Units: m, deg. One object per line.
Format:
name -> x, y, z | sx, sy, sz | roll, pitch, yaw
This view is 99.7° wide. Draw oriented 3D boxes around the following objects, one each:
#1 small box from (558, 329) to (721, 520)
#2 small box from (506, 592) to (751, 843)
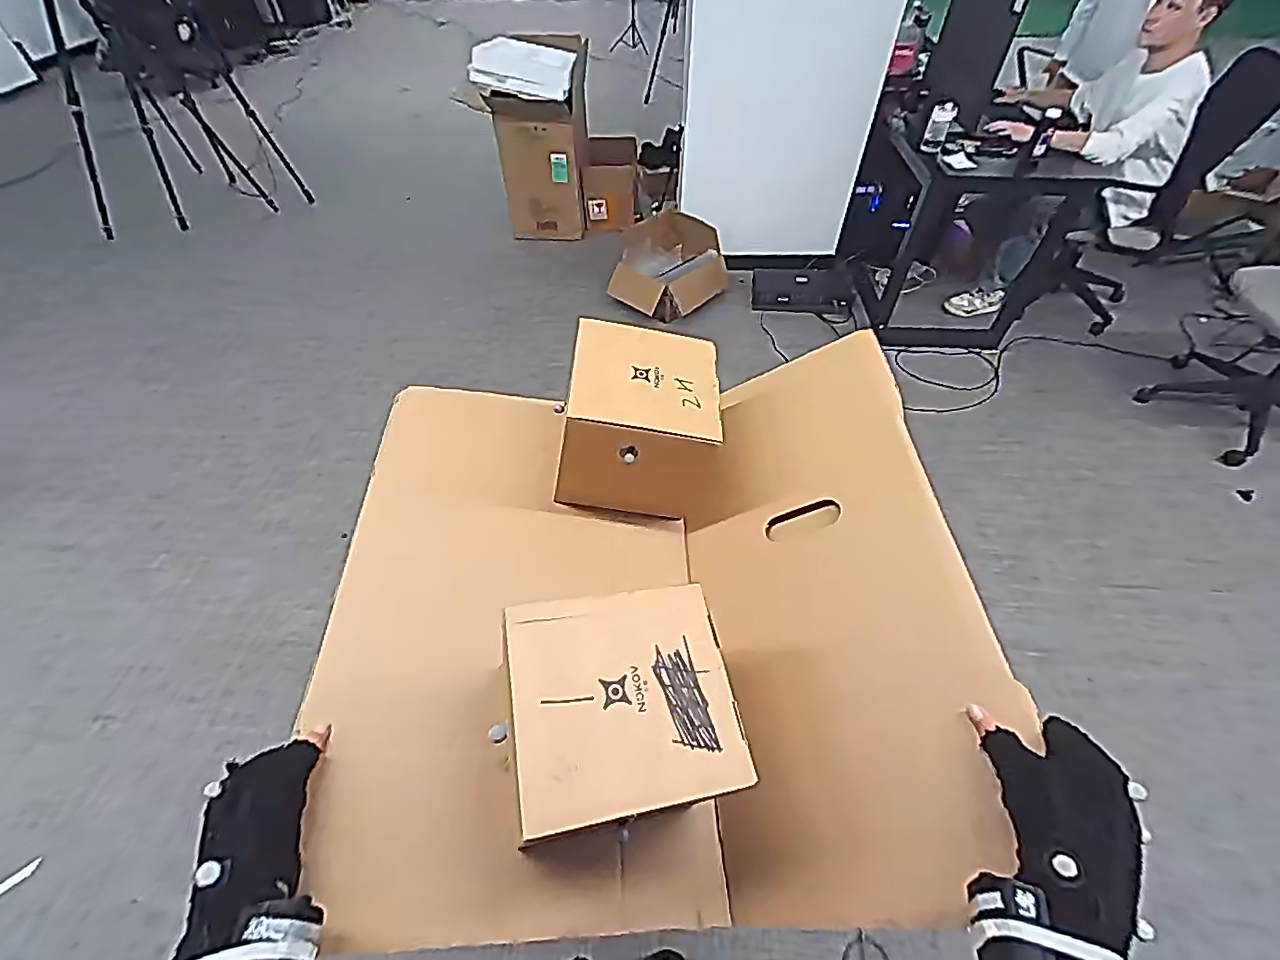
small box -> -0.007, -0.064, 0.701 | 0.179, 0.176, 0.168 | 10, 54, -9
small box -> -0.028, 0.217, 0.495 | 0.179, 0.176, 0.168 | -3, 56, -16
